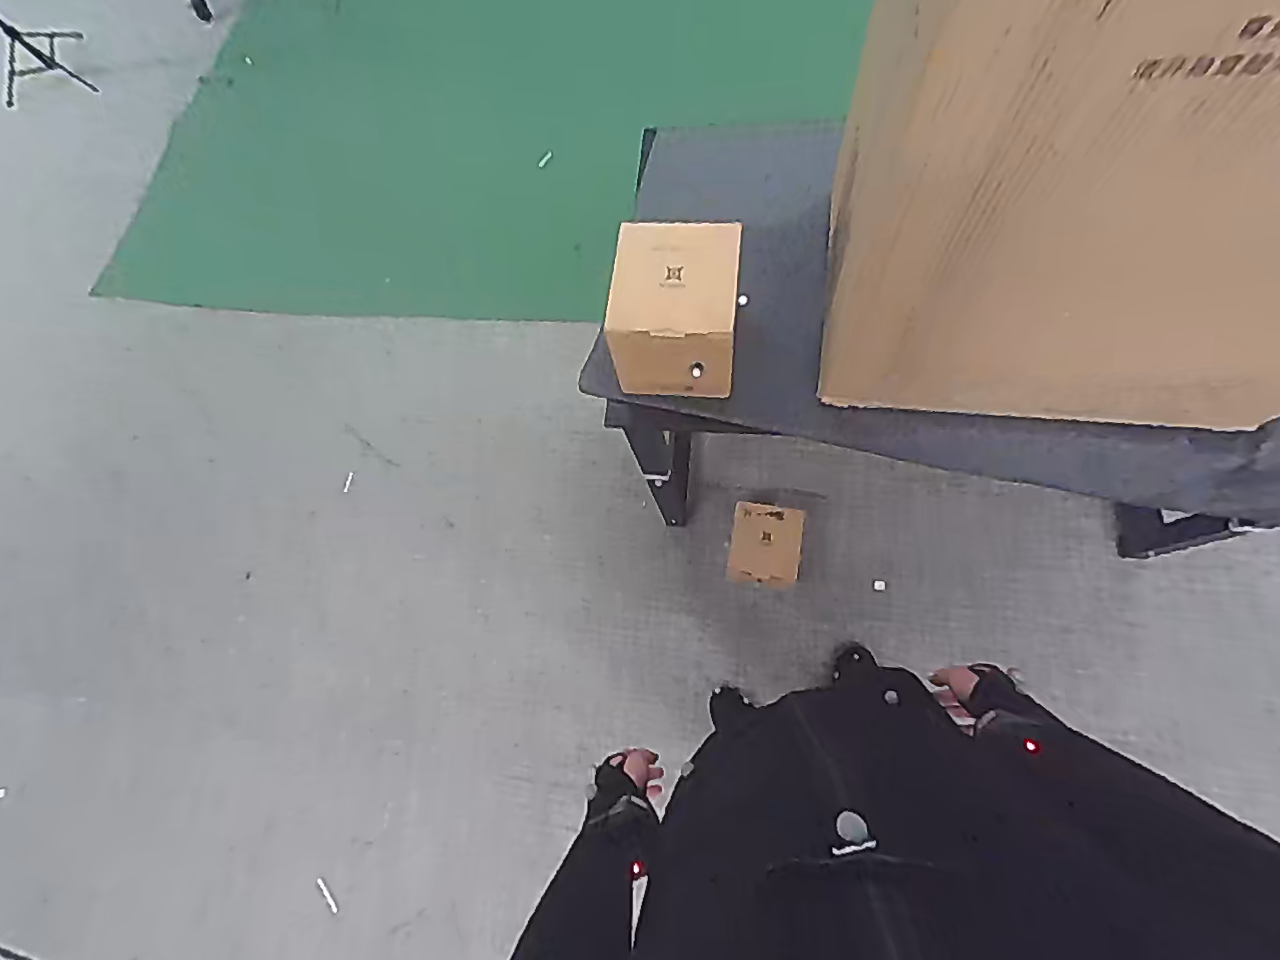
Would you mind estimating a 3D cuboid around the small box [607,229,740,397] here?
[{"bbox_3d":[0.055,-0.236,0.791,0.168,0.176,0.179,4,69,7],"label":"small box"}]
